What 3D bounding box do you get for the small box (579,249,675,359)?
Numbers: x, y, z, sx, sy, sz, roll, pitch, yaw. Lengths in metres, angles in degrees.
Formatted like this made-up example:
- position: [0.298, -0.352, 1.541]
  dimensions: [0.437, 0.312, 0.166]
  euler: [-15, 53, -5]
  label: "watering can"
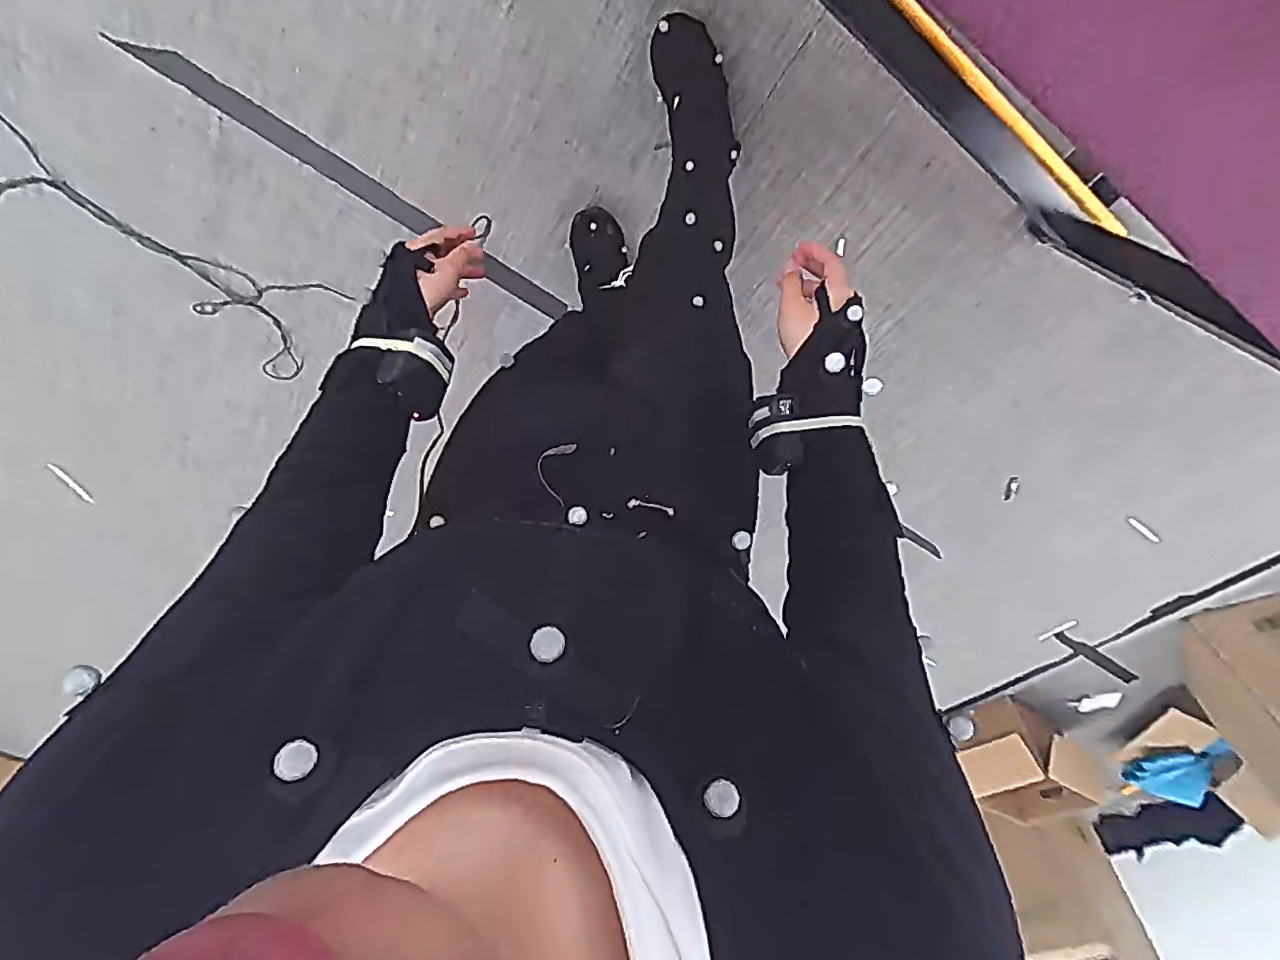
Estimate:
- position: [-0.026, -0.356, 1.094]
  dimensions: [0.179, 0.176, 0.168]
  euler: [-4, 126, 2]
  label: "small box"
